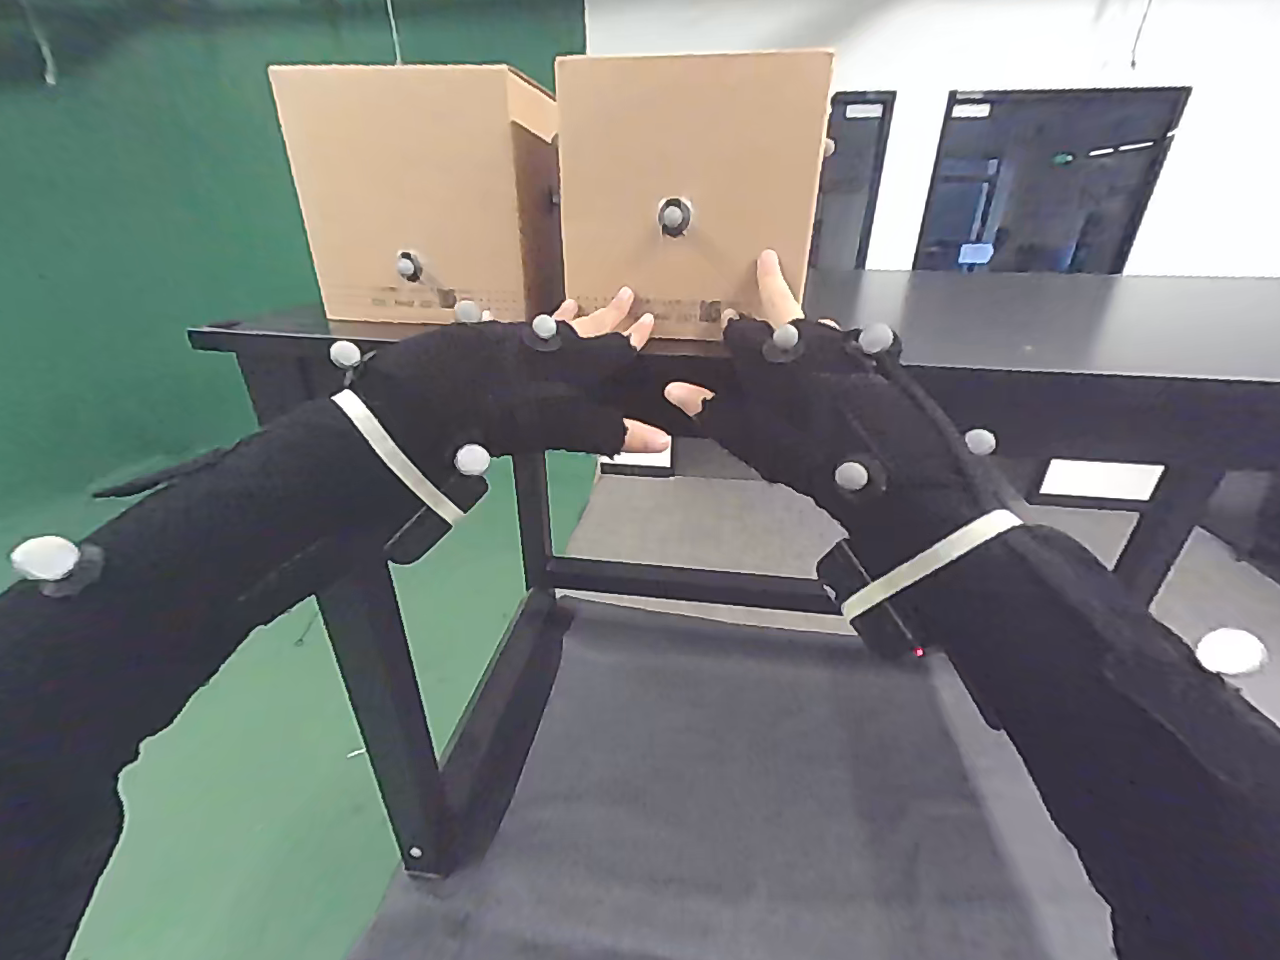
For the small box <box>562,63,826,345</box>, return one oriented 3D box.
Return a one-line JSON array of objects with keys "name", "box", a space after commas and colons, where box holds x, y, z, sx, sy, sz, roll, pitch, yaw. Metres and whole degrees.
[{"name": "small box", "box": [0.045, -0.211, 0.436, 0.168, 0.176, 0.179, 6, 26, 8]}]
